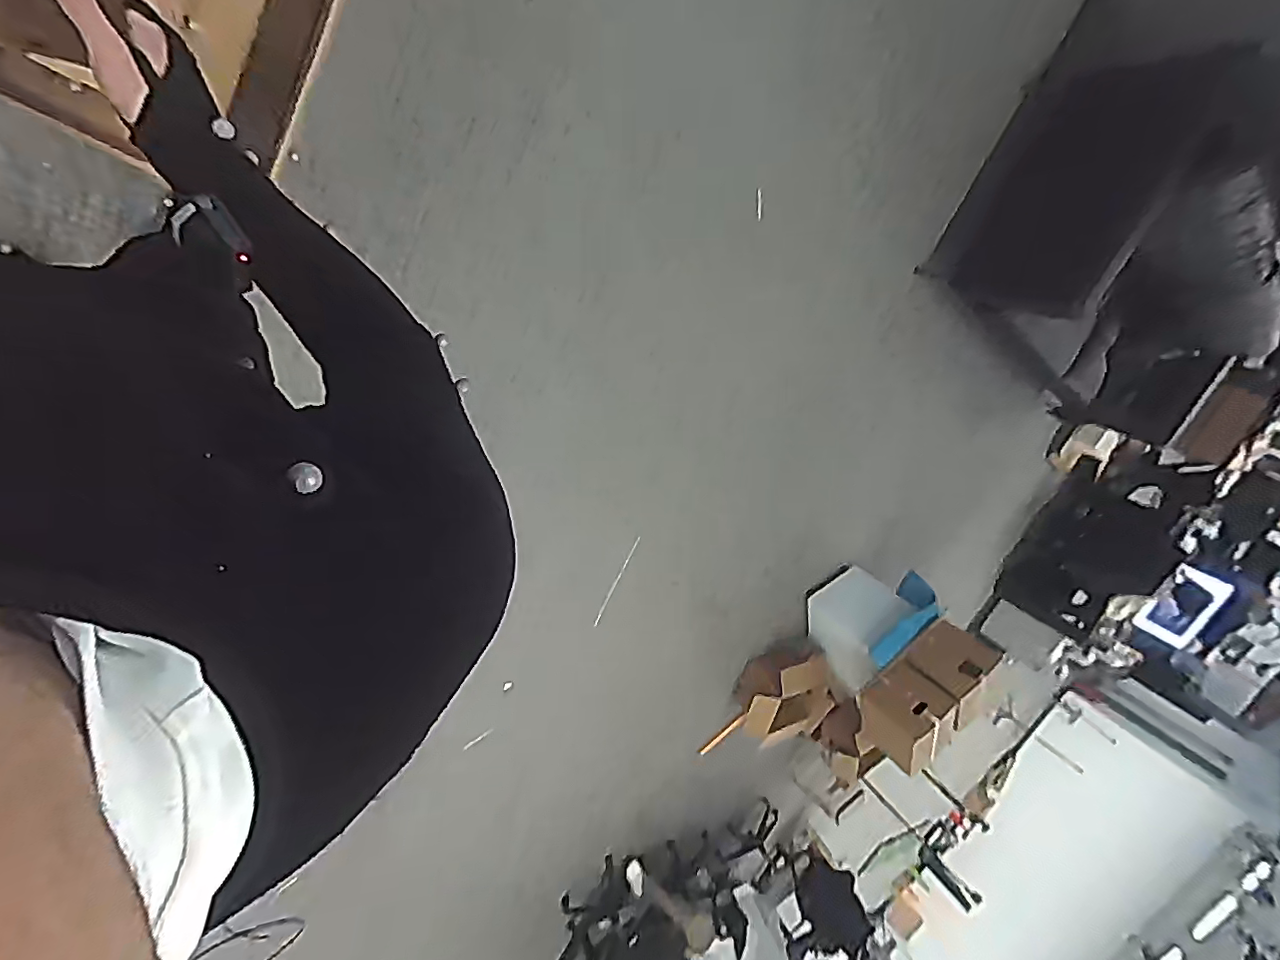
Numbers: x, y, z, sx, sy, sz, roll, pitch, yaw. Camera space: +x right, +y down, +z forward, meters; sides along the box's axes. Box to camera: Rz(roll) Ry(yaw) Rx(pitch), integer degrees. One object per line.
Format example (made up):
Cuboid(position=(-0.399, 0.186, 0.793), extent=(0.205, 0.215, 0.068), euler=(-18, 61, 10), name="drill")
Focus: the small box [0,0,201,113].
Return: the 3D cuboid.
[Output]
Cuboid(position=(-0.657, -0.581, 0.650), extent=(0.168, 0.176, 0.179), euler=(20, 105, -40), name="small box")
